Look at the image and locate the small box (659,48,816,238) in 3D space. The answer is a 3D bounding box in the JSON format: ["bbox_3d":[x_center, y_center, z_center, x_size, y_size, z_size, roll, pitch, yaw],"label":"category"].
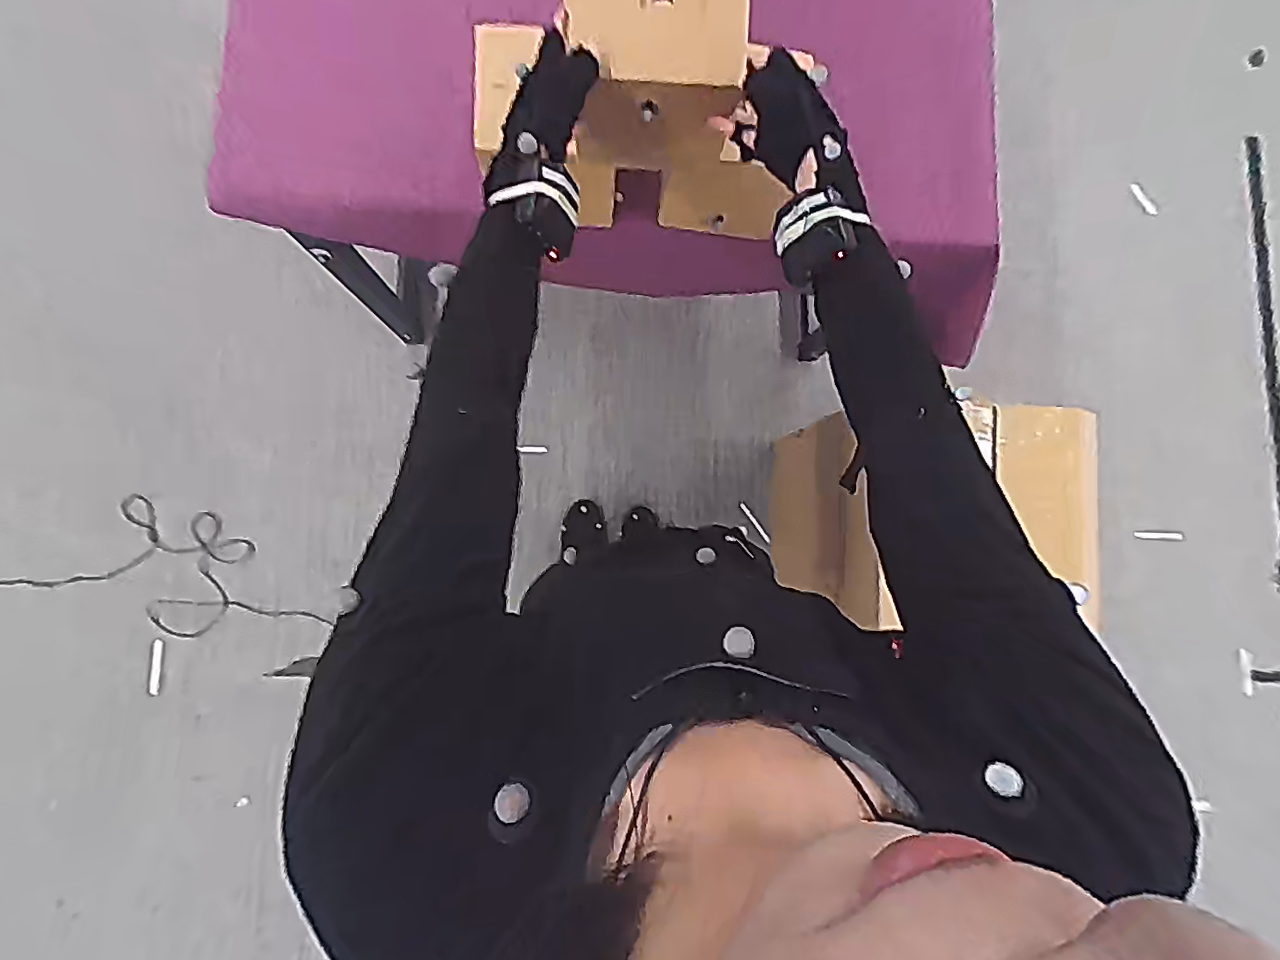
[{"bbox_3d":[0.131,-0.474,0.776,0.179,0.176,0.168,6,84,-5],"label":"small box"}]

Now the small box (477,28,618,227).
[{"bbox_3d":[-0.119,-0.475,0.754,0.179,0.176,0.168,0,85,-3],"label":"small box"}]

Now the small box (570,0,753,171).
[{"bbox_3d":[0.018,-0.468,0.595,0.179,0.176,0.168,1,92,-4],"label":"small box"}]
